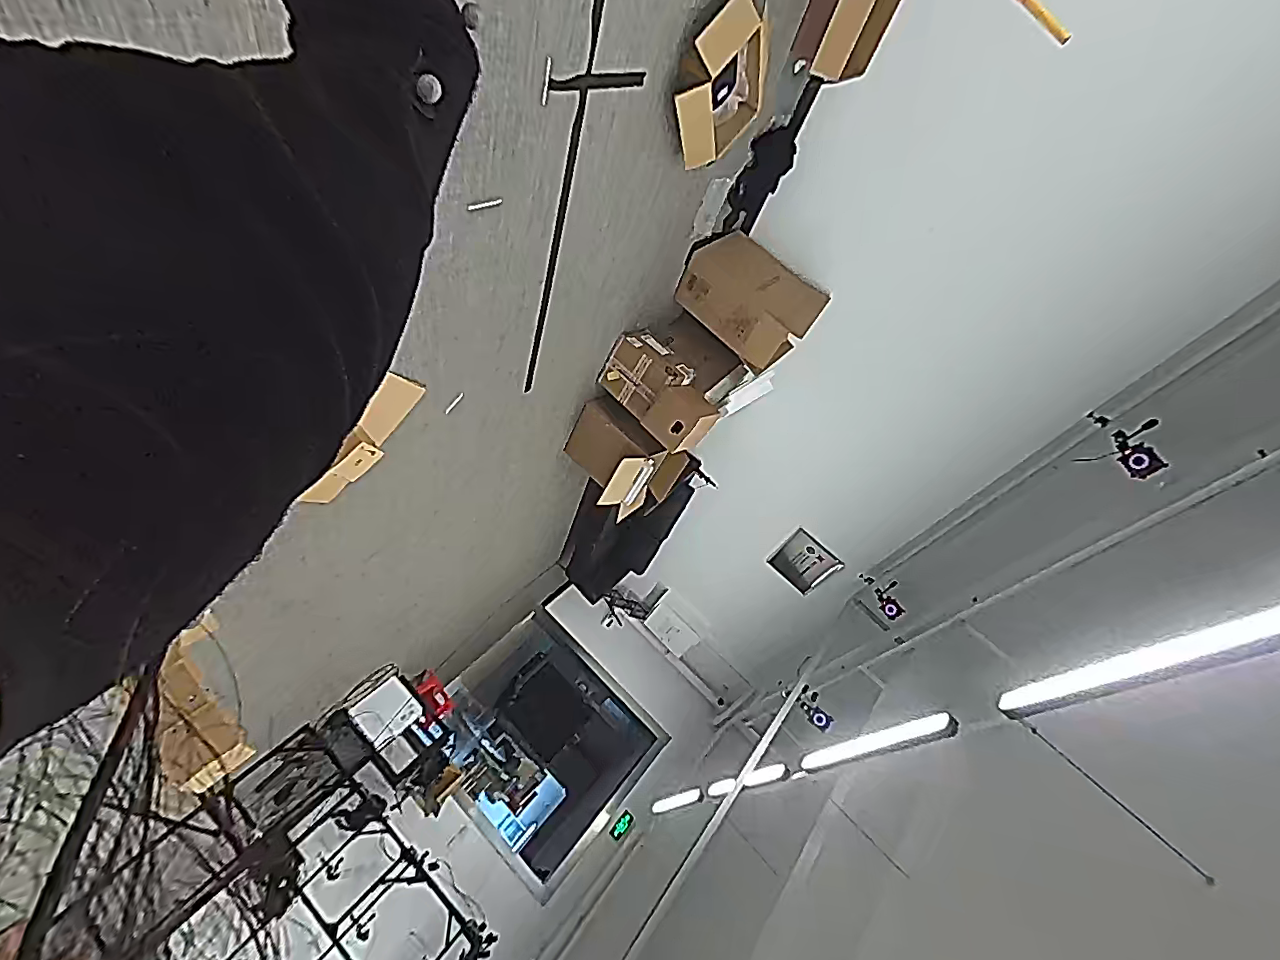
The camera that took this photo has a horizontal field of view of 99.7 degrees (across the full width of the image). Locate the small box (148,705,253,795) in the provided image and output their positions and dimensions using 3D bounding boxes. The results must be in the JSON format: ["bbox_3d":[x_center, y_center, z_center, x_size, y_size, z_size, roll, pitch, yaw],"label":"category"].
[{"bbox_3d":[-1.318,0.810,1.627,0.168,0.176,0.179,-39,165,-36],"label":"small box"}]

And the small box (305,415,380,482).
[{"bbox_3d":[-1.186,-0.126,2.144,0.179,0.176,0.168,-43,168,-7],"label":"small box"}]

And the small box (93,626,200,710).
[{"bbox_3d":[-1.549,0.587,1.700,0.168,0.176,0.179,-38,166,-34],"label":"small box"}]
